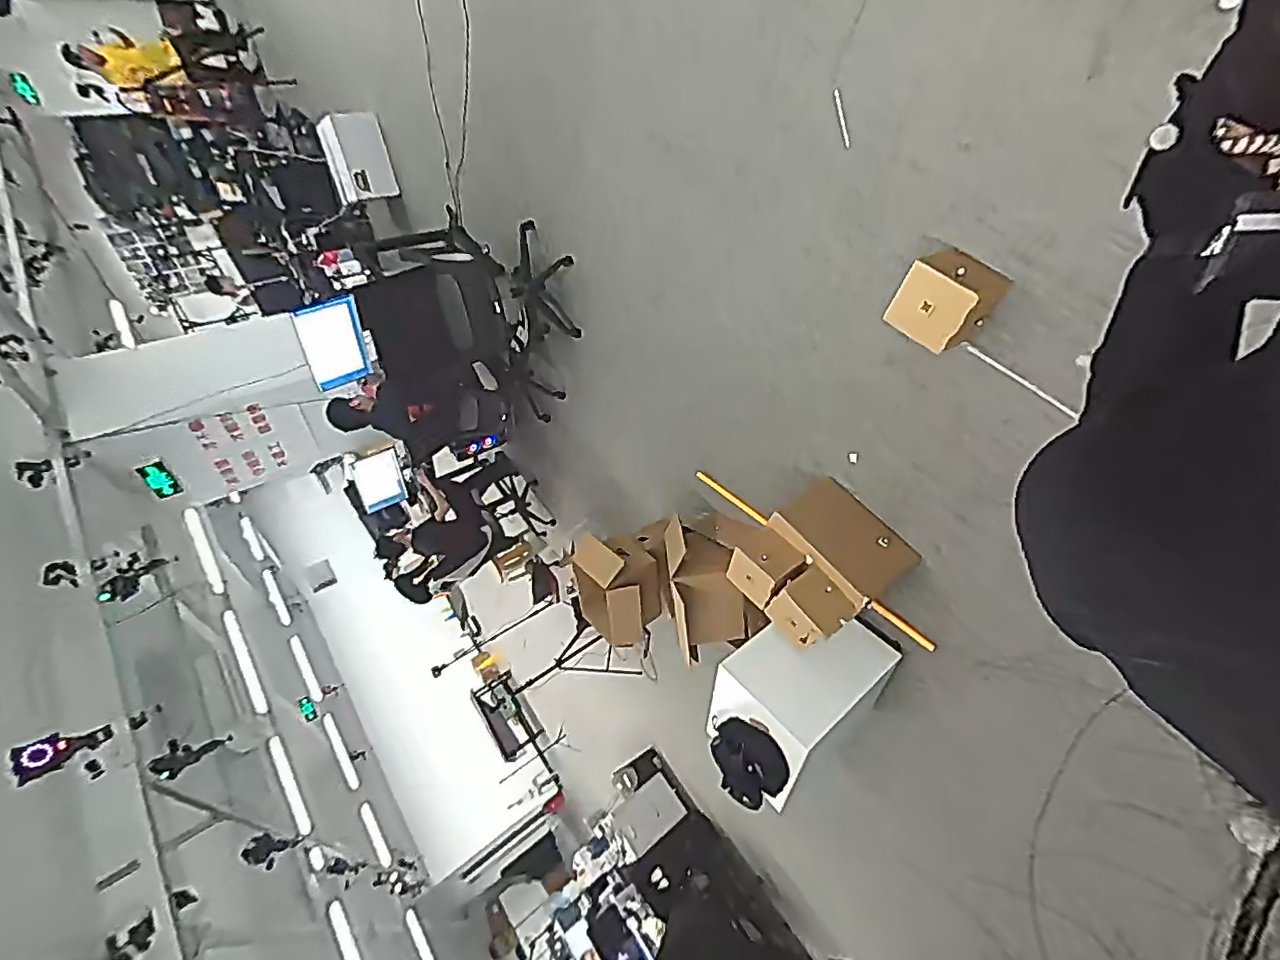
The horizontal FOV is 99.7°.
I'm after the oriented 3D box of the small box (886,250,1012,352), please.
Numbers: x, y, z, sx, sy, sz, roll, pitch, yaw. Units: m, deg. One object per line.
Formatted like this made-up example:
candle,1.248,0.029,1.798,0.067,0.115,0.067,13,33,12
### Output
small box,0.760,-0.449,1.336,0.179,0.176,0.168,46,147,25
